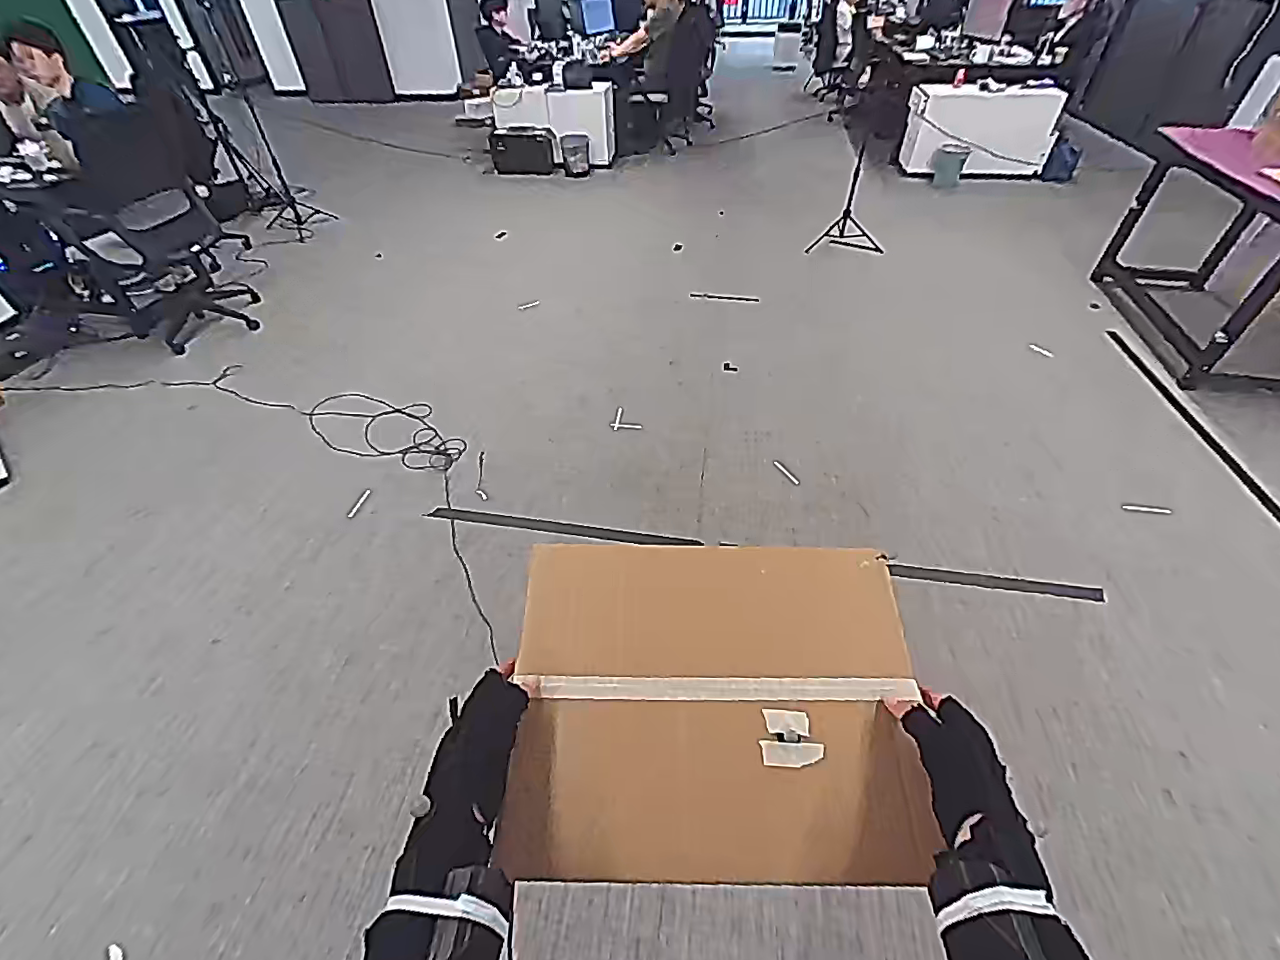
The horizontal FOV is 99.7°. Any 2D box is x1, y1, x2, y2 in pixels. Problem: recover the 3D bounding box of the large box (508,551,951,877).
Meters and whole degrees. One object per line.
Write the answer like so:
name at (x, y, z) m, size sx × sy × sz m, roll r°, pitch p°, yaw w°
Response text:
large box at (0.077, 0.295, 0.680) m, size 0.408 × 0.320 × 0.320 m, roll 1°, pitch 58°, yaw 0°
